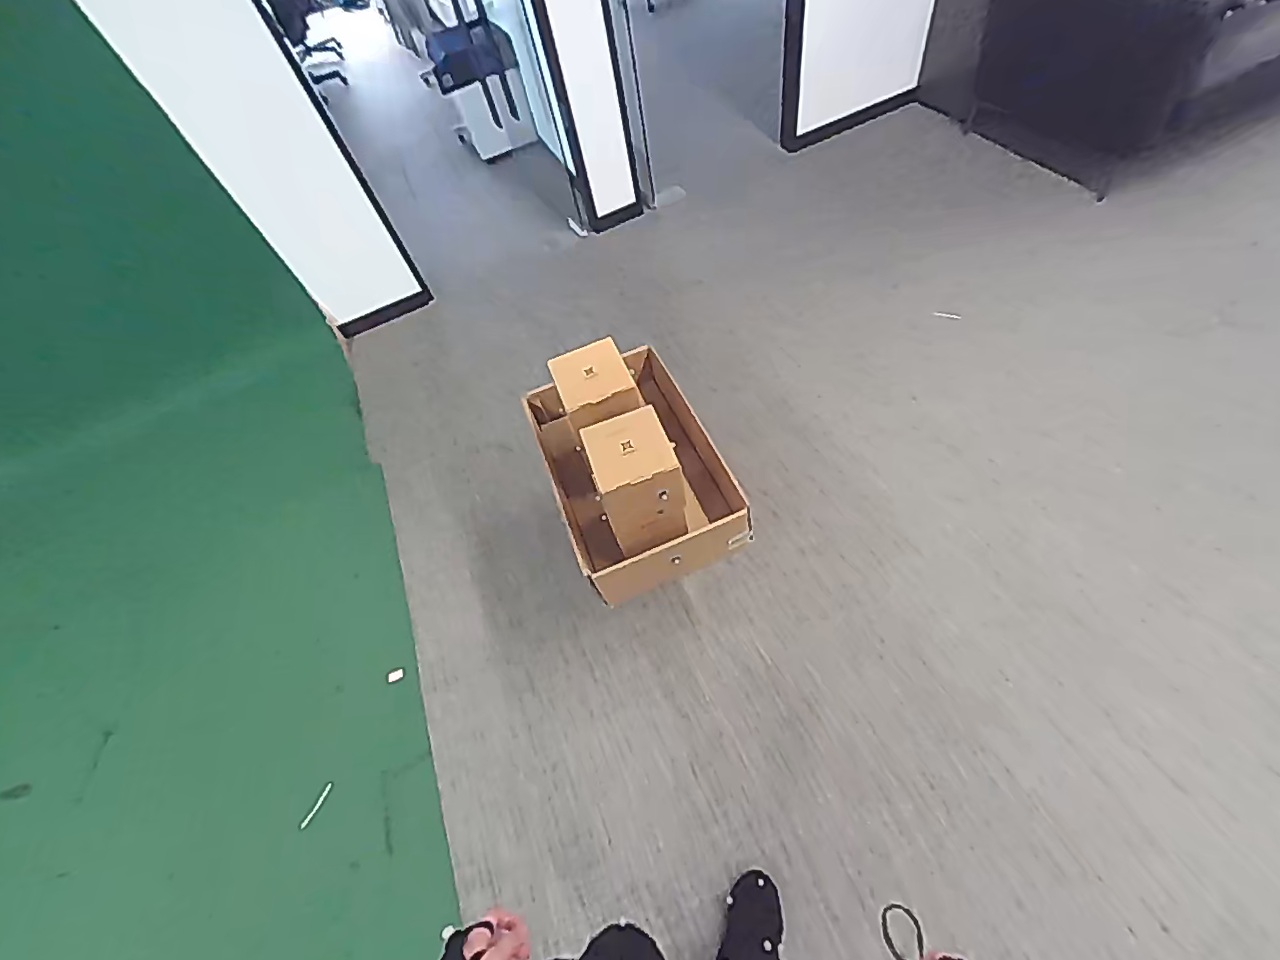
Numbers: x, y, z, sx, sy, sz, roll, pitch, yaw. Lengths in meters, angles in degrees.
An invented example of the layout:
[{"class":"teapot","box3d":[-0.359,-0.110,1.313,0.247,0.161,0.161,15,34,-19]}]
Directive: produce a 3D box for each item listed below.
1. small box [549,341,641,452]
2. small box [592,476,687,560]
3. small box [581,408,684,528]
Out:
[{"class":"small box","box3d":[-0.101,-0.194,1.296,0.168,0.176,0.179,-22,57,-5]},{"class":"small box","box3d":[0.003,0.072,1.289,0.168,0.176,0.179,-21,54,-4]},{"class":"small box","box3d":[-0.012,-0.017,1.153,0.168,0.176,0.179,-19,54,-3]}]
